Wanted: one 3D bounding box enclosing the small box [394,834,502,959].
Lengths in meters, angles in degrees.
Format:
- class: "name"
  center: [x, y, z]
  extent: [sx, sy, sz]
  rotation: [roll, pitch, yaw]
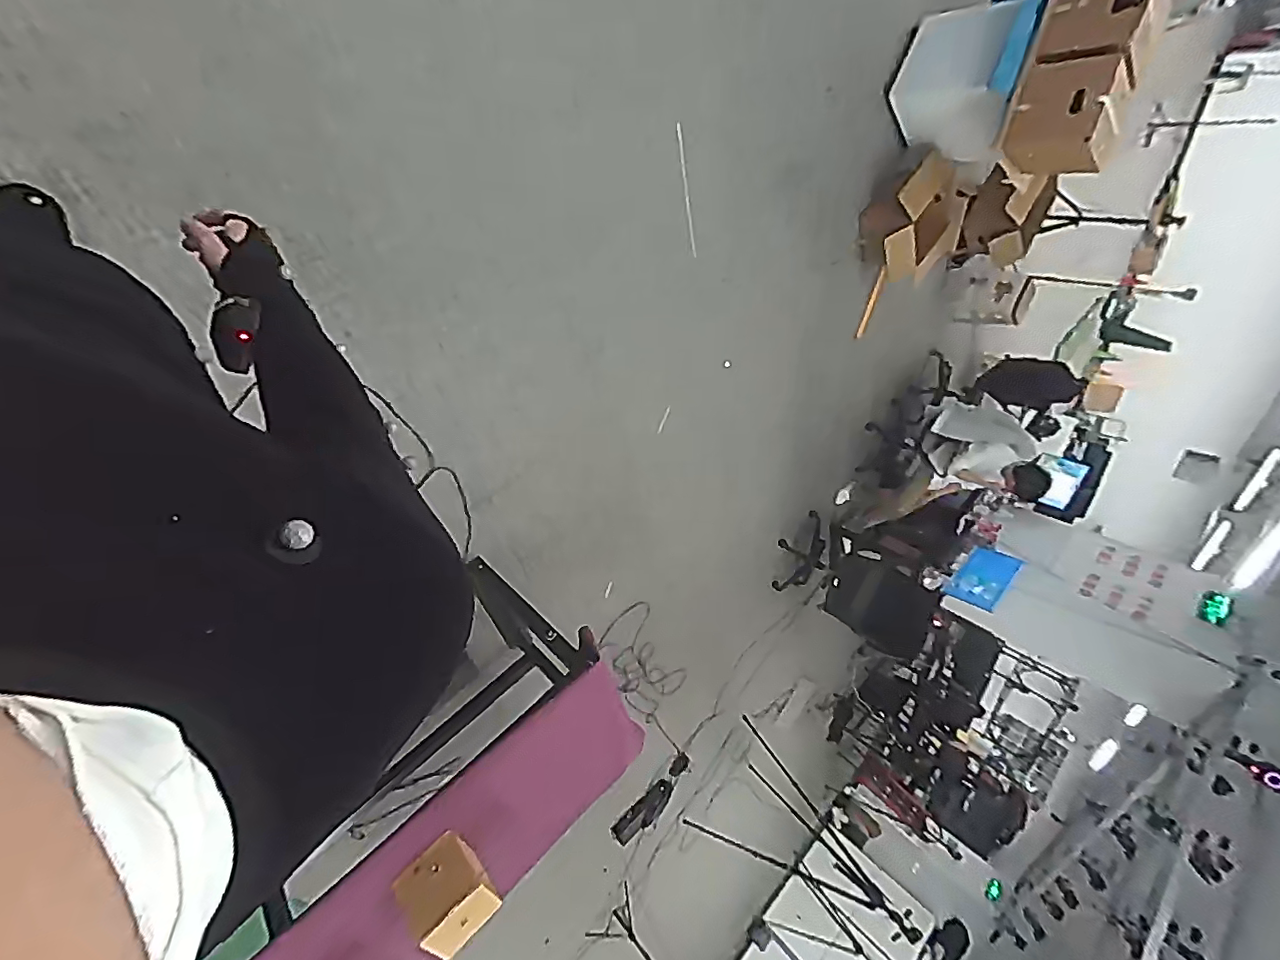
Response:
- class: "small box"
  center: [-0.478, 1.034, 1.351]
  extent: [0.168, 0.176, 0.179]
  rotation: [-36, 134, -27]
